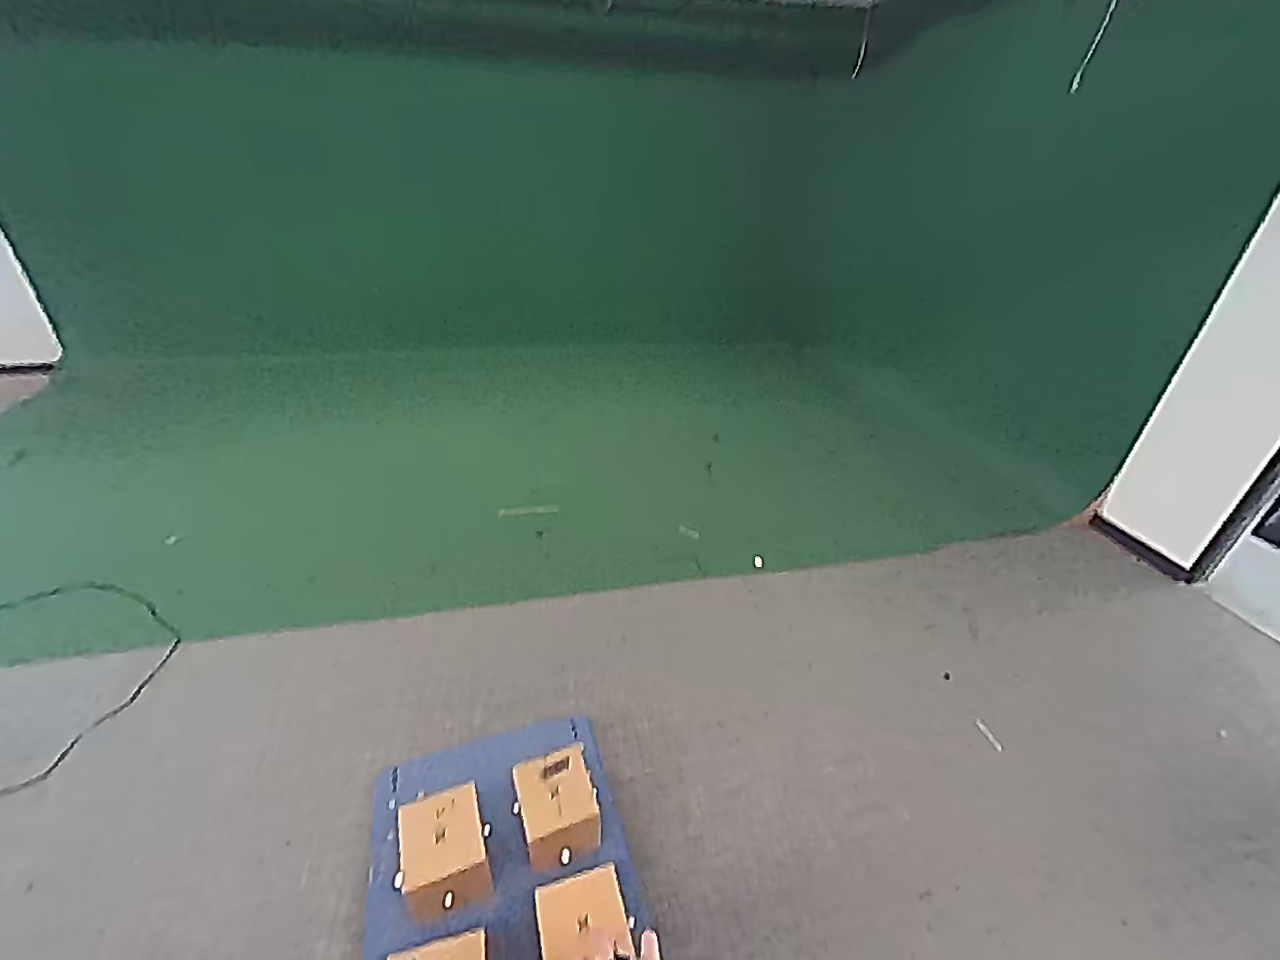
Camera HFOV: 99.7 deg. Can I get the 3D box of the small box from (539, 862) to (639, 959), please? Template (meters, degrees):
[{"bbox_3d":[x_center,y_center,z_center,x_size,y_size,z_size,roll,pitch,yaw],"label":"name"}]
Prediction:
[{"bbox_3d":[-0.109,0.926,1.091,0.168,0.176,0.179,-8,34,-17],"label":"small box"}]

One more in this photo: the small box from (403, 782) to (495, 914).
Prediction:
[{"bbox_3d":[-0.429,0.832,1.217,0.168,0.176,0.179,-10,34,-21],"label":"small box"}]

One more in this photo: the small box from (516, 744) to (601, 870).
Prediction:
[{"bbox_3d":[-0.197,0.786,1.305,0.168,0.176,0.179,-11,36,-19],"label":"small box"}]
